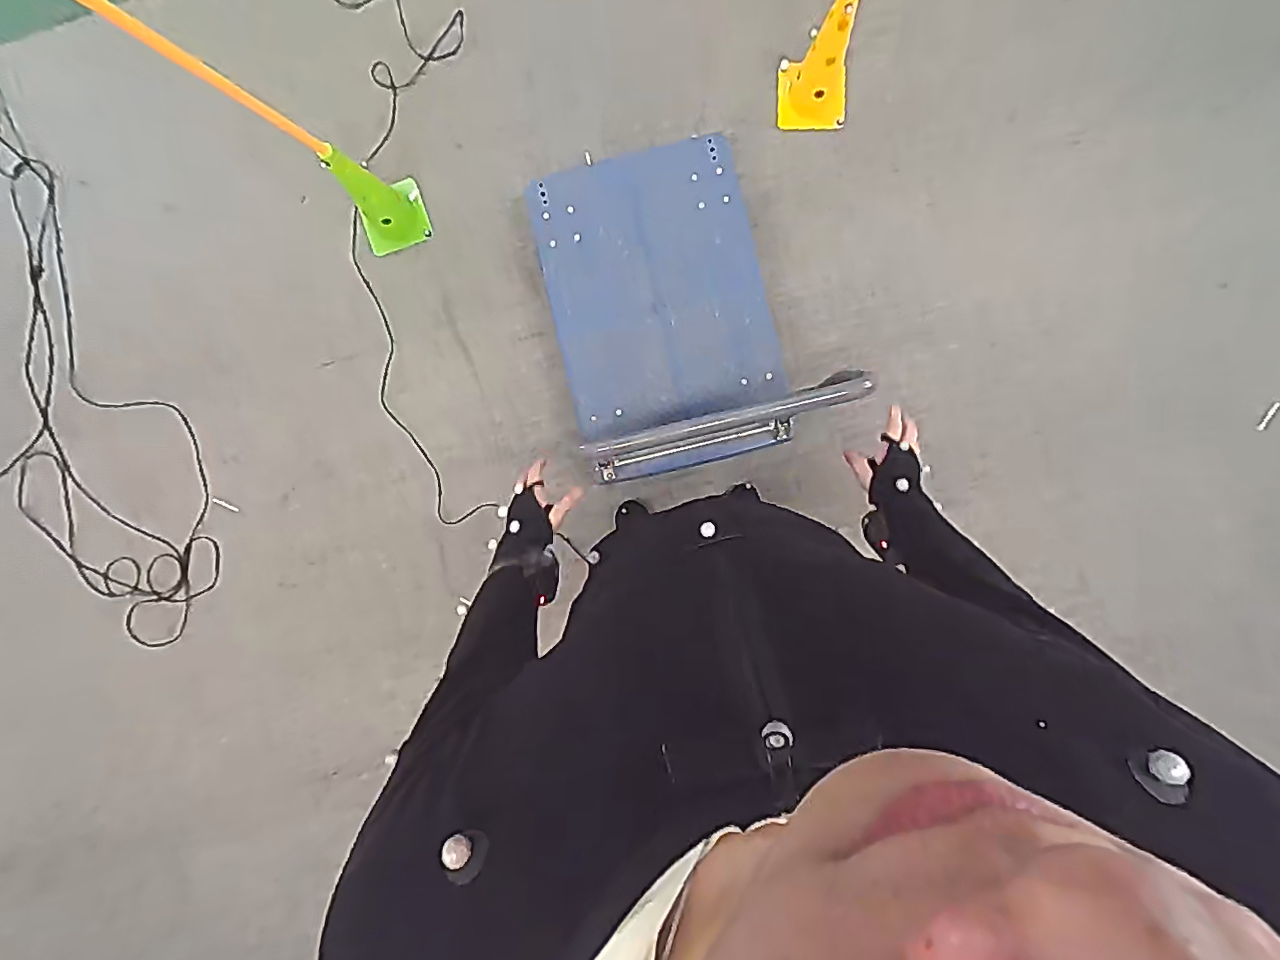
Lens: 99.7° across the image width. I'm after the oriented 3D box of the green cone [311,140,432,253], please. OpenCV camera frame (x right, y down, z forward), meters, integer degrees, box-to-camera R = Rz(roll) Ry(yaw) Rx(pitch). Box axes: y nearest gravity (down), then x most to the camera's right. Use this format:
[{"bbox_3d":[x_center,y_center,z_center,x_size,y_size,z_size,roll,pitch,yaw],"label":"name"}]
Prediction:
[{"bbox_3d":[-0.779,-0.830,1.517,0.202,0.368,0.200,-20,88,5],"label":"green cone"}]
